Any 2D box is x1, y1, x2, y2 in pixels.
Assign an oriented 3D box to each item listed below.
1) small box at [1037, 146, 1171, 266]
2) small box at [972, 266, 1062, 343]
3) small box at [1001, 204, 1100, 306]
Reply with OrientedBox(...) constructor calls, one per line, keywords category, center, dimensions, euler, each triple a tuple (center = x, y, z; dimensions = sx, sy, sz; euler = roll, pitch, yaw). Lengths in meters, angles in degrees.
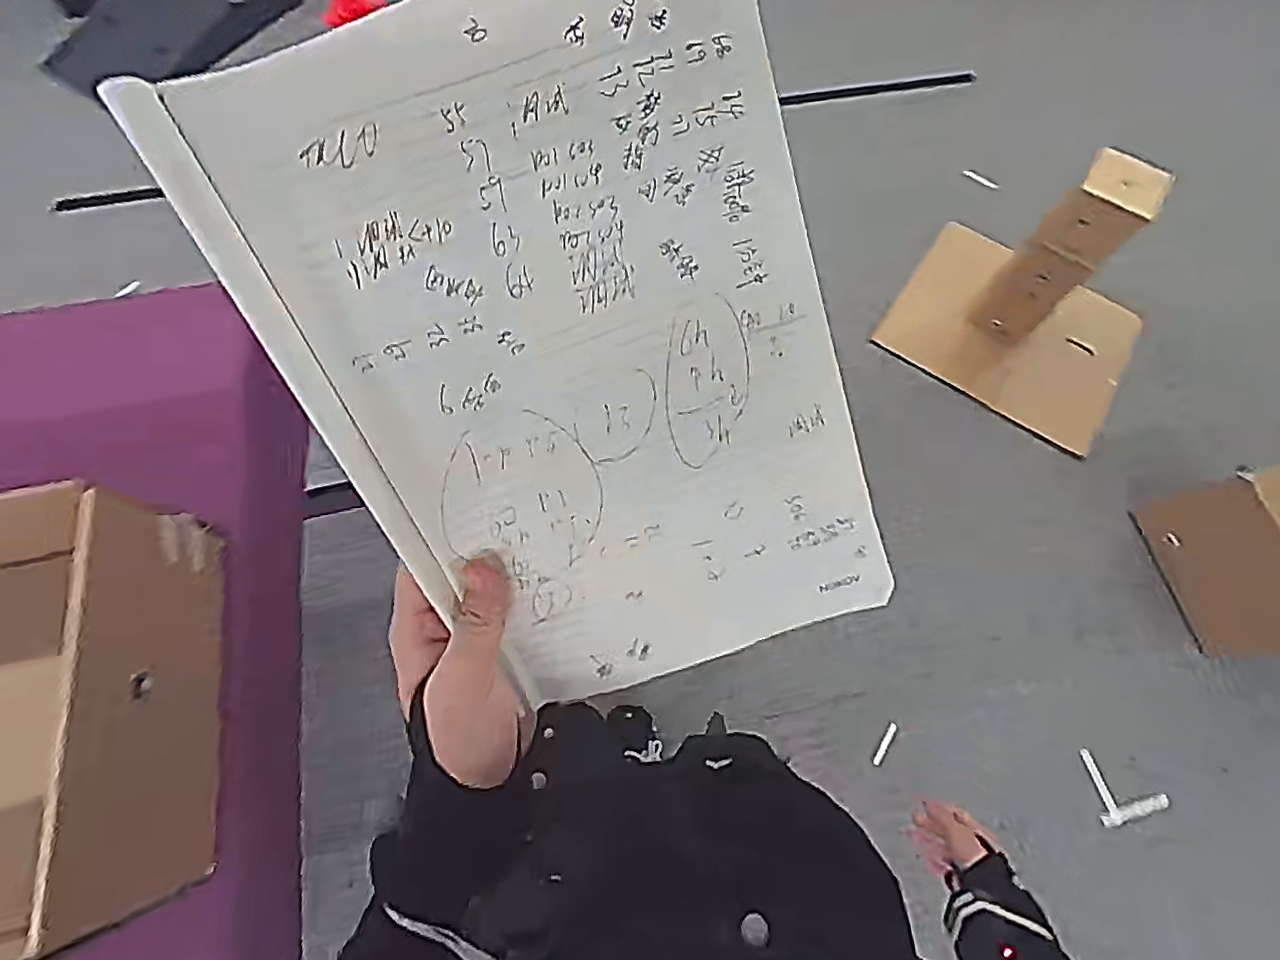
OrientedBox(category="small box", center=(1.137, -0.670, 1.339), dimensions=(0.168, 0.176, 0.179), euler=(33, 72, 11))
OrientedBox(category="small box", center=(1.153, -0.555, 1.646), dimensions=(0.168, 0.176, 0.179), euler=(30, 73, 10))
OrientedBox(category="small box", center=(1.143, -0.617, 1.492), dimensions=(0.168, 0.176, 0.179), euler=(31, 72, 9))
